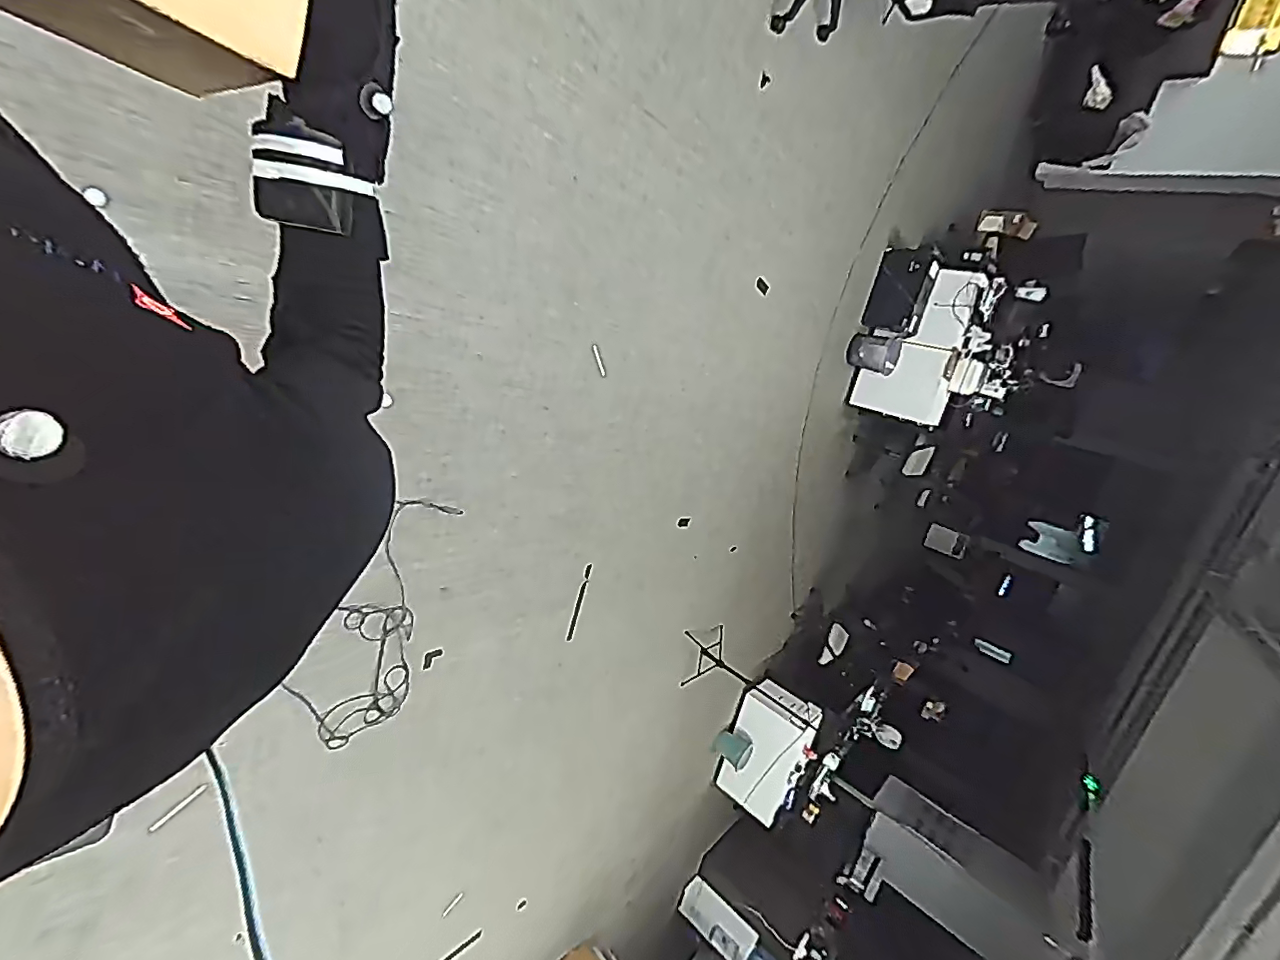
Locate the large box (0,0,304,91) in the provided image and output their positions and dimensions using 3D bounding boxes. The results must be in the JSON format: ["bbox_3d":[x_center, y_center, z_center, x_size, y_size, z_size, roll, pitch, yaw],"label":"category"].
[{"bbox_3d":[-0.414,-0.469,0.258,0.408,0.320,0.320,3,110,-49],"label":"large box"}]
